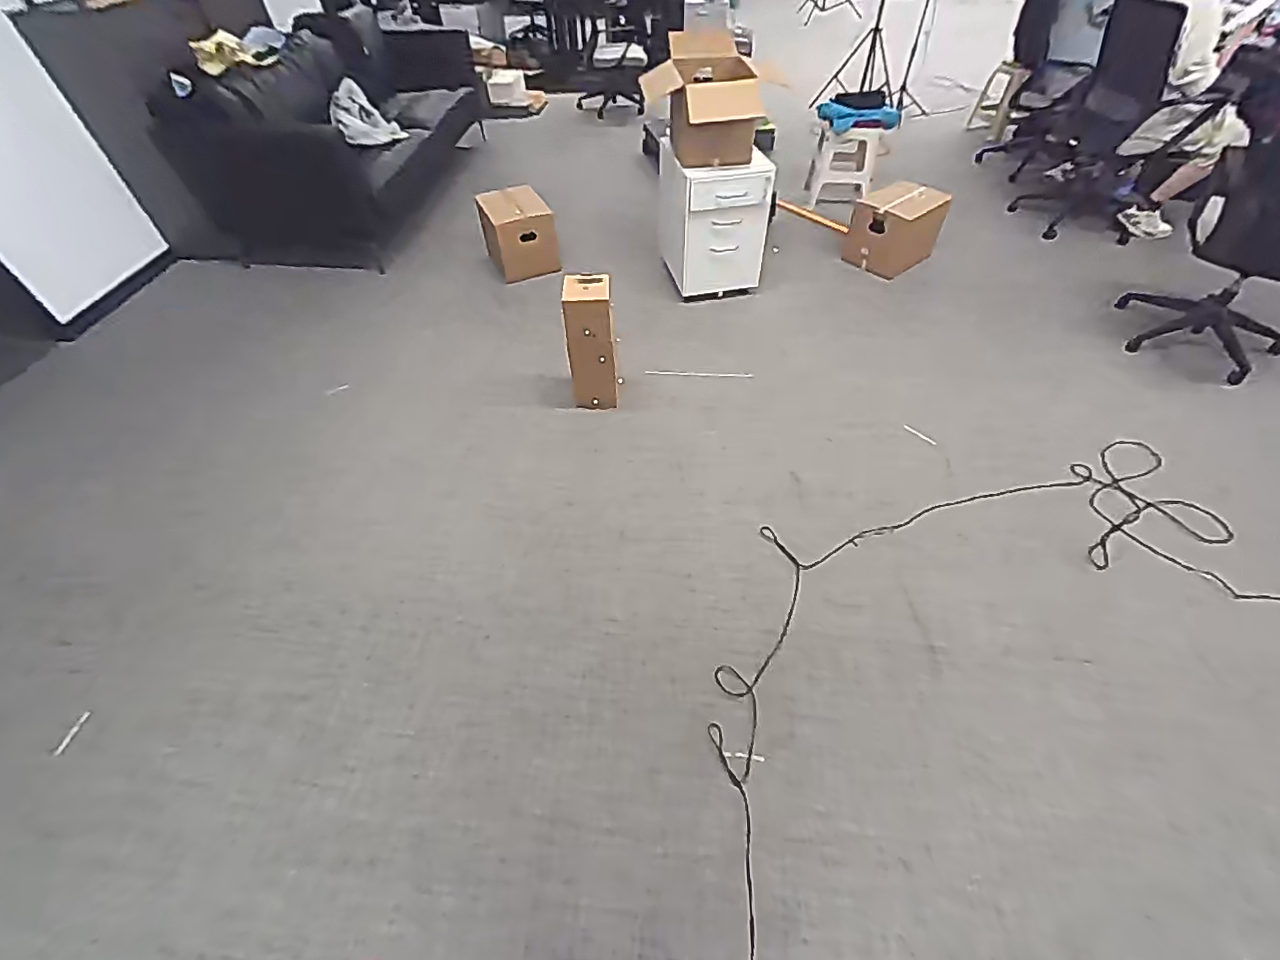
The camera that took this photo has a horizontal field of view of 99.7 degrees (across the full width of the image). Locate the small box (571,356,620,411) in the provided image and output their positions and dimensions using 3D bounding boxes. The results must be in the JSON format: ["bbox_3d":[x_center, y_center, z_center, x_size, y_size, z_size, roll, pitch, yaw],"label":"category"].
[{"bbox_3d":[-0.178,-0.401,2.233,0.179,0.176,0.168,2,49,4],"label":"small box"}]

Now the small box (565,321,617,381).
[{"bbox_3d":[-0.184,-0.500,2.103,0.179,0.176,0.168,-1,47,3],"label":"small box"}]
